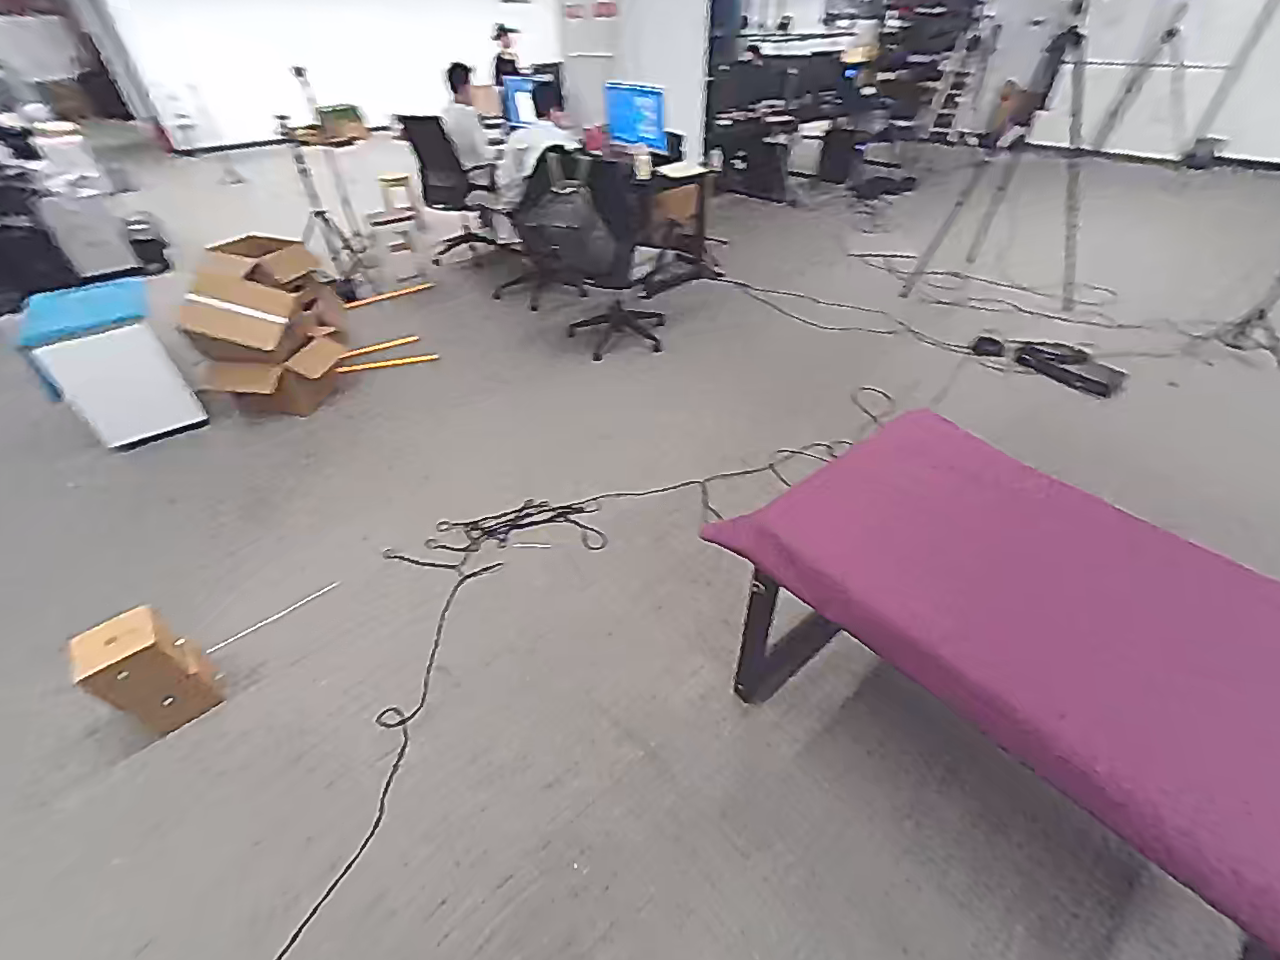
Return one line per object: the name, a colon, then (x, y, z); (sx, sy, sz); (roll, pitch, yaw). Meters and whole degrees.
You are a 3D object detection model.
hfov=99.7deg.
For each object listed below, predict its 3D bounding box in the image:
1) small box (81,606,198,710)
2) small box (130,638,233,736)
small box: (-1.366, 0.491, 1.482); (0.179, 0.176, 0.168); (-30, 48, -29)
small box: (-1.352, 0.612, 1.593); (0.179, 0.176, 0.168); (-30, 48, -29)
